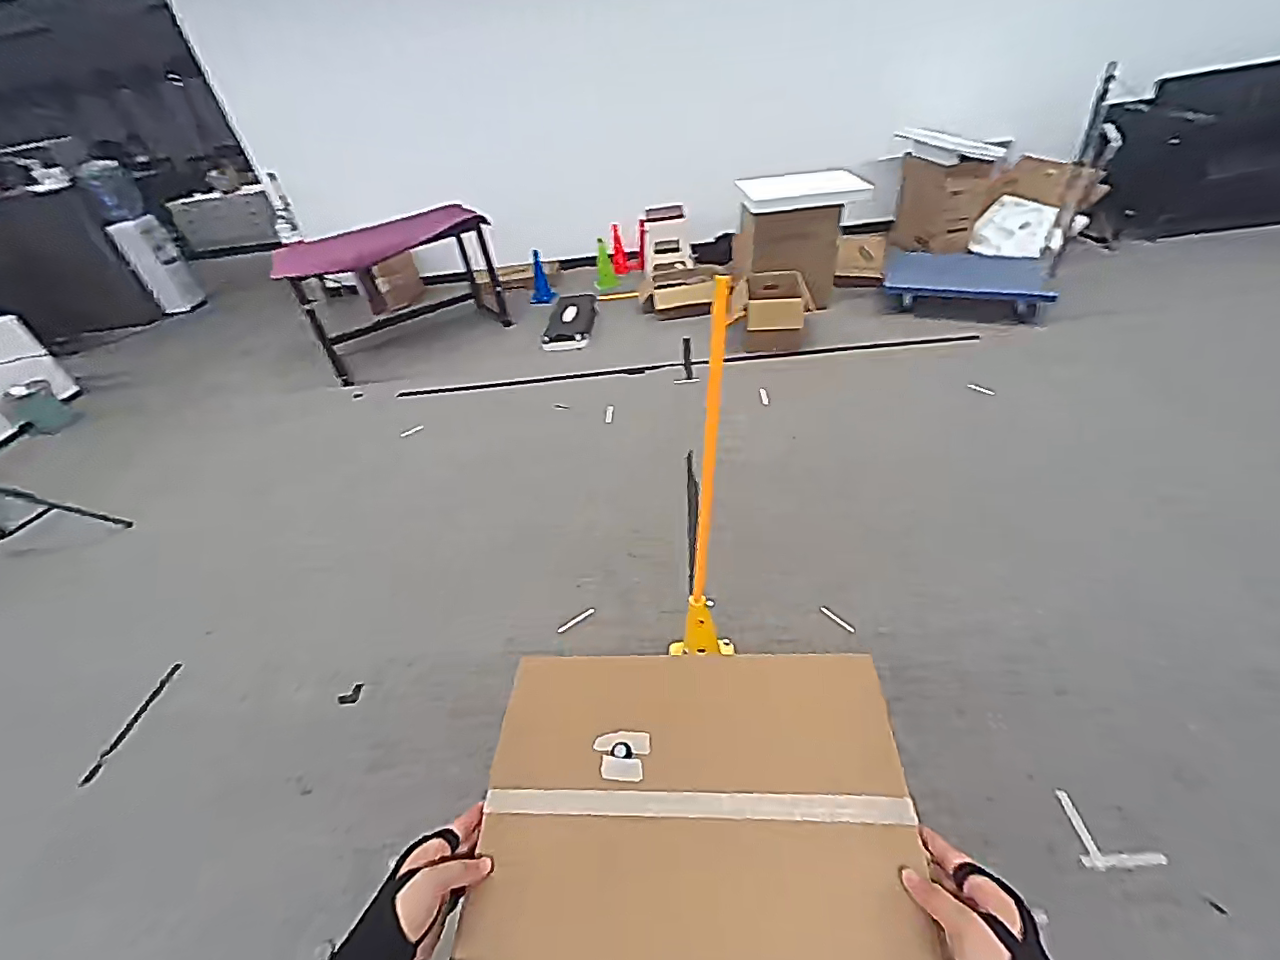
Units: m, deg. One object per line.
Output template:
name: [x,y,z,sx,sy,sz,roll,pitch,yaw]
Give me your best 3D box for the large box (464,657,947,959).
large box: [0.073,0.428,0.622,0.408,0.320,0.320,-5,42,8]
